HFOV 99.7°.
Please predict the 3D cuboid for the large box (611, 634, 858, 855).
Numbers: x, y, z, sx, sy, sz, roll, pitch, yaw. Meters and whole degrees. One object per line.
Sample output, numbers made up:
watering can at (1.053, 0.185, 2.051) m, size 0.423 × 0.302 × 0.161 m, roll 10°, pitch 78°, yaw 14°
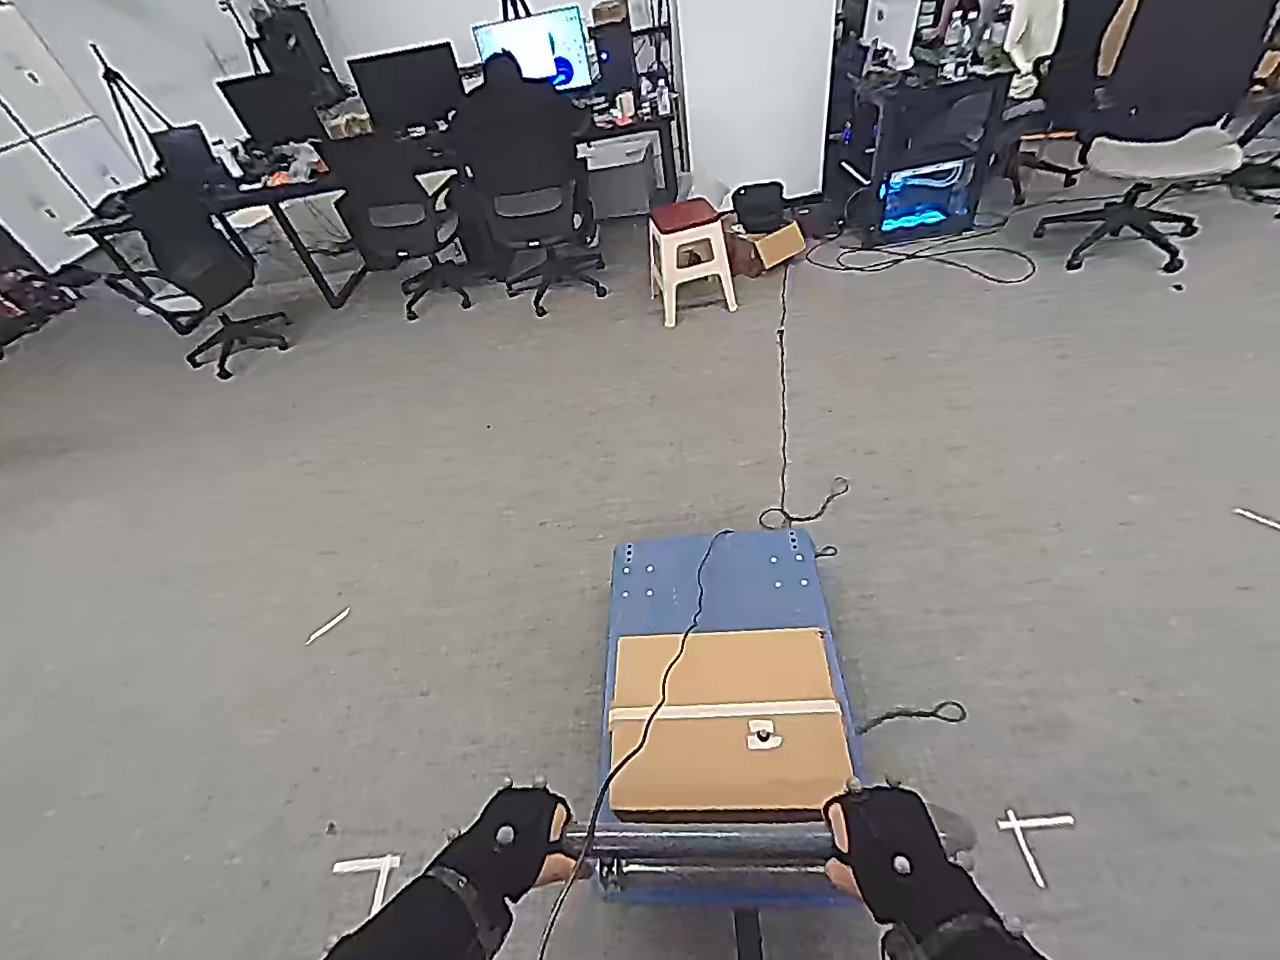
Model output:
large box at (0.168, 0.531, 1.075) m, size 0.408 × 0.320 × 0.320 m, roll -5°, pitch 47°, yaw 7°
